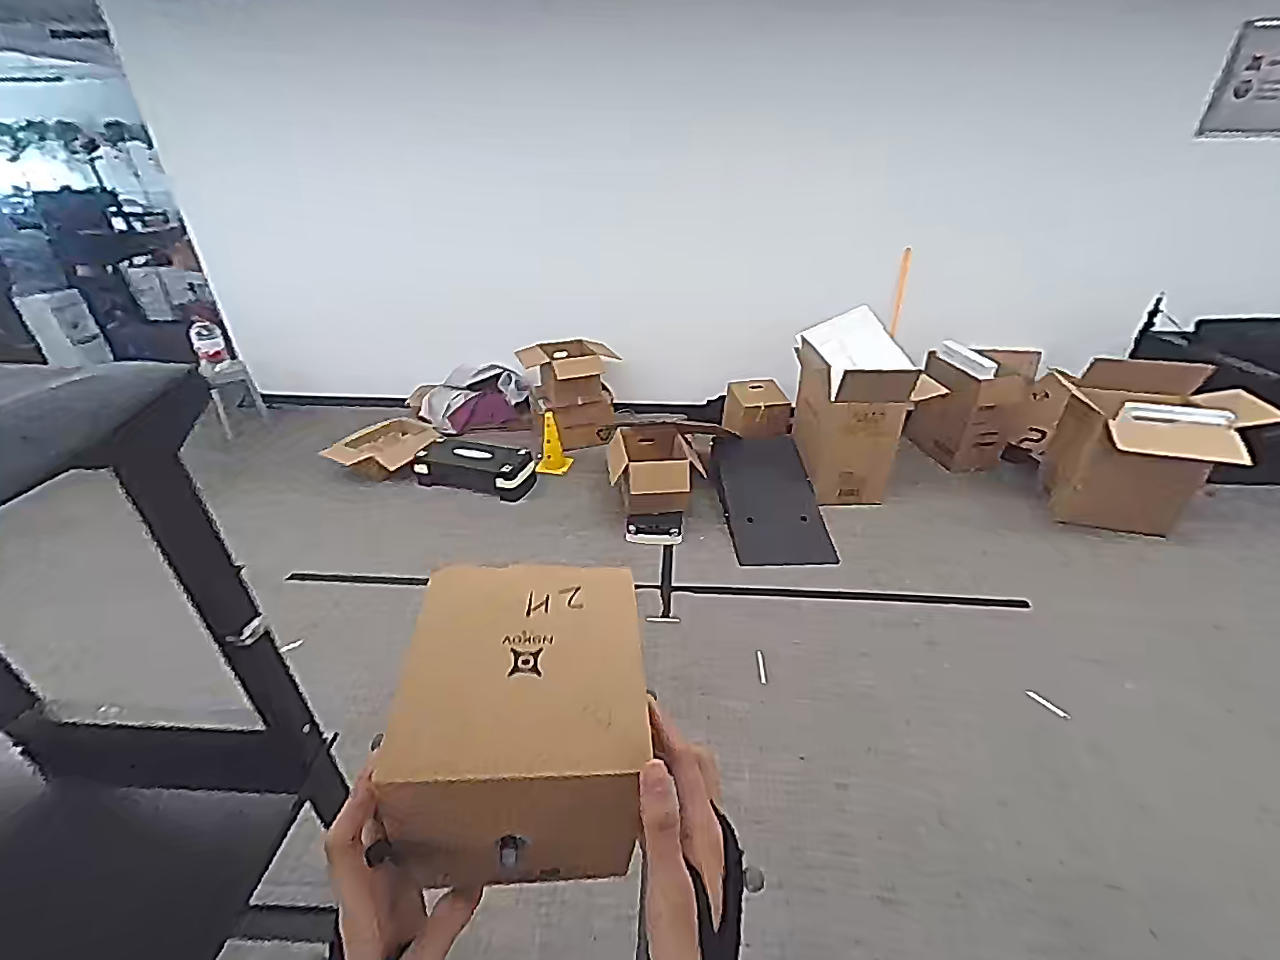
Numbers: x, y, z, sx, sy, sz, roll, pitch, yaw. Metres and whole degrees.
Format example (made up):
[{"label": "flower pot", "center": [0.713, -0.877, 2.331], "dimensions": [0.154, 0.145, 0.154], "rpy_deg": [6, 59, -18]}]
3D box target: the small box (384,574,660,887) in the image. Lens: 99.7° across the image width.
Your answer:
[{"label": "small box", "center": [-0.082, 0.197, 0.432], "dimensions": [0.168, 0.176, 0.179], "rpy_deg": [3, 35, -8]}]
